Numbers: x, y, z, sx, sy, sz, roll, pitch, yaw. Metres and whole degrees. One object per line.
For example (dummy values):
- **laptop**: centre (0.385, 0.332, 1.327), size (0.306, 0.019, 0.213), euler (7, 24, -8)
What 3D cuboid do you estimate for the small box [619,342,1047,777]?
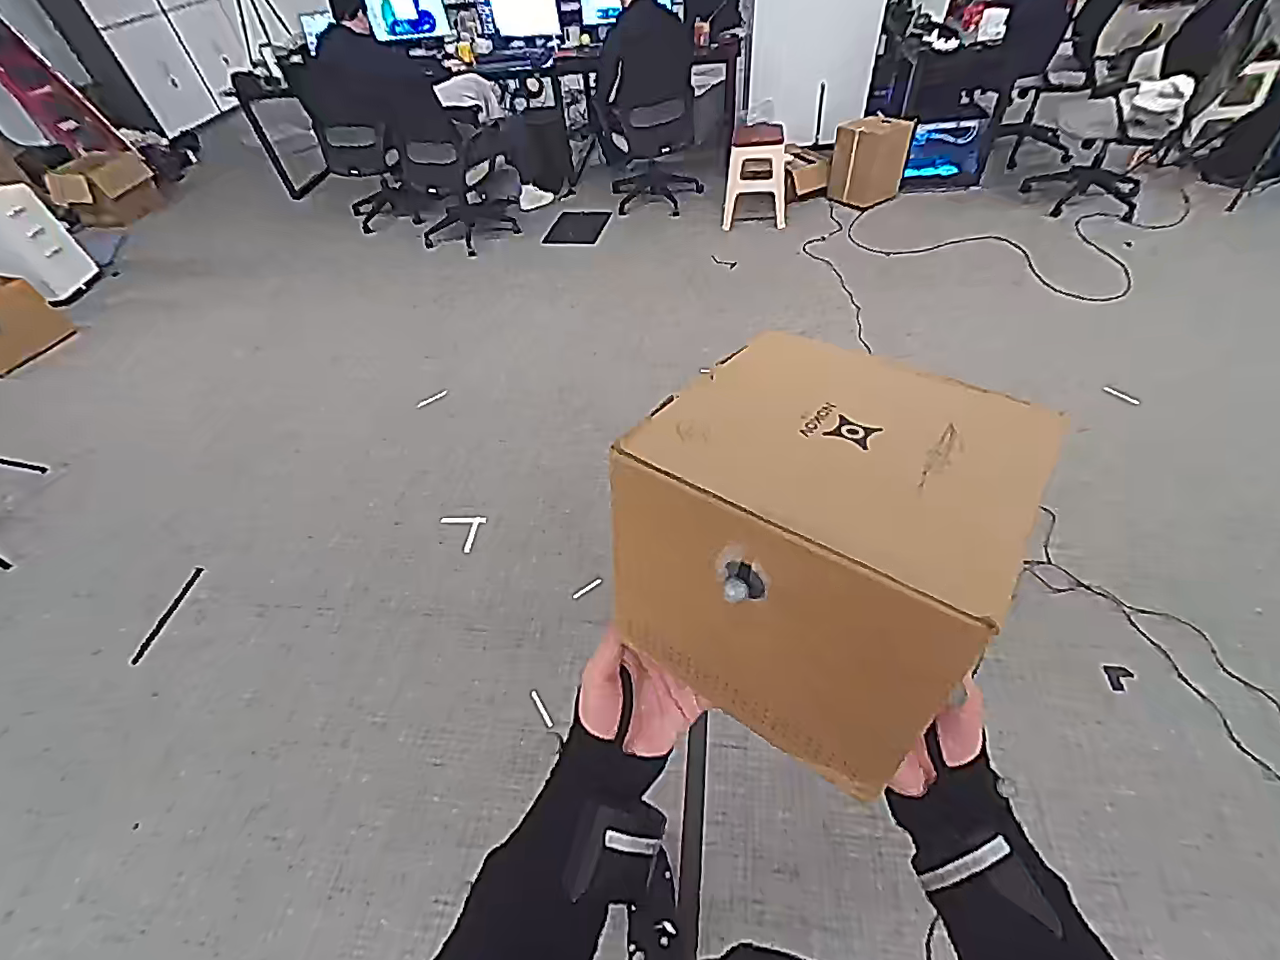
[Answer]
- **small box**: centre (0.103, 0.041, 0.336), size (0.179, 0.176, 0.168), euler (27, 47, 27)
